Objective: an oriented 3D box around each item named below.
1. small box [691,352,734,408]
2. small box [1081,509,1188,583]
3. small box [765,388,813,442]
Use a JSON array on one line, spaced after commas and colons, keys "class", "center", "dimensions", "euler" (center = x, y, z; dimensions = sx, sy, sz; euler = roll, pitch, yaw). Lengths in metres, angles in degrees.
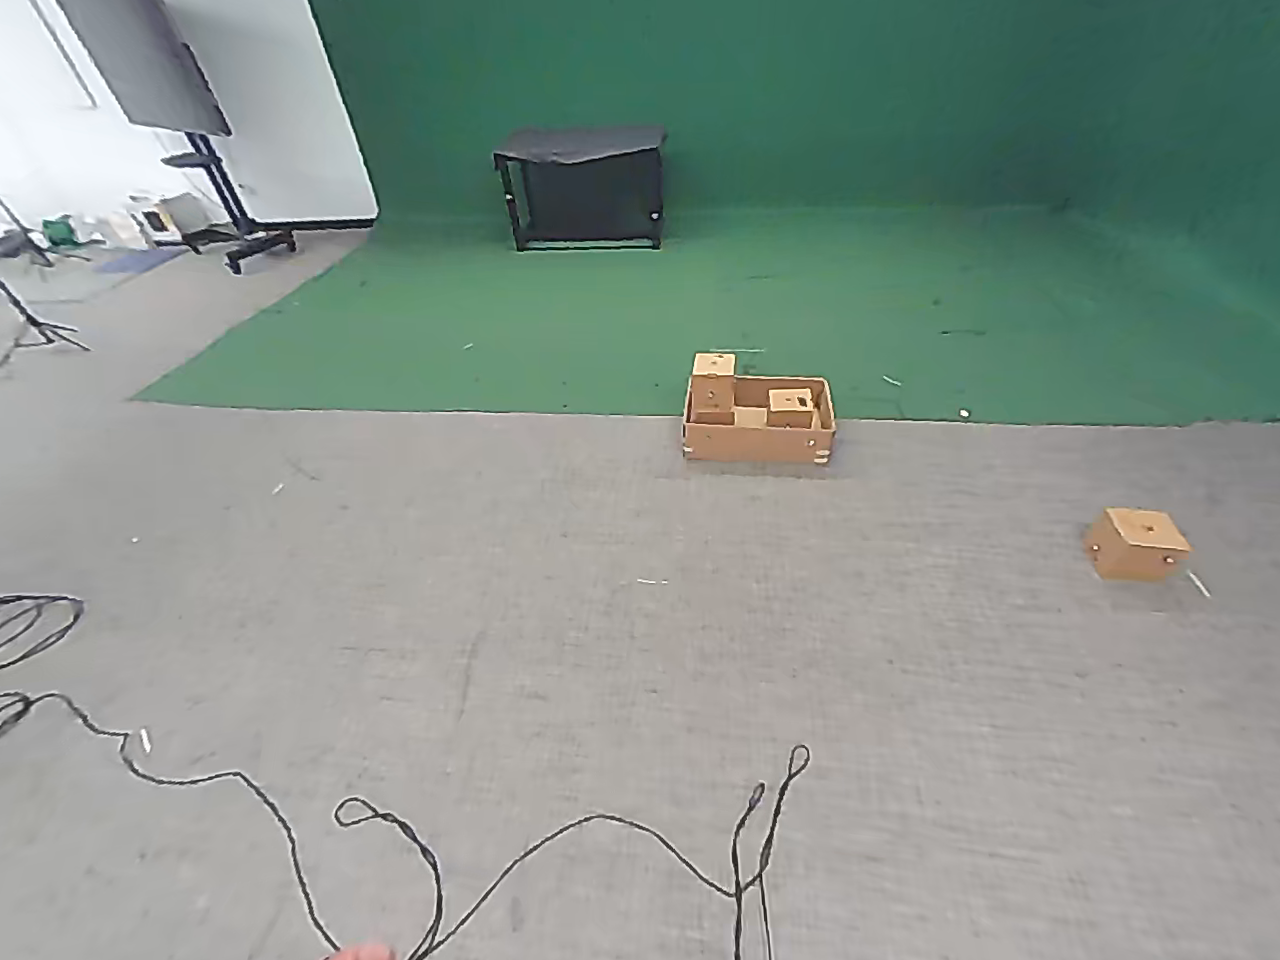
[{"class": "small box", "center": [0.304, -0.416, 2.259], "dimensions": [0.168, 0.176, 0.179], "euler": [4, 44, 10]}, {"class": "small box", "center": [1.606, 0.218, 1.769], "dimensions": [0.179, 0.176, 0.168], "euler": [6, 42, 11]}, {"class": "small box", "center": [0.634, -0.278, 2.324], "dimensions": [0.179, 0.176, 0.168], "euler": [2, 43, 9]}]
